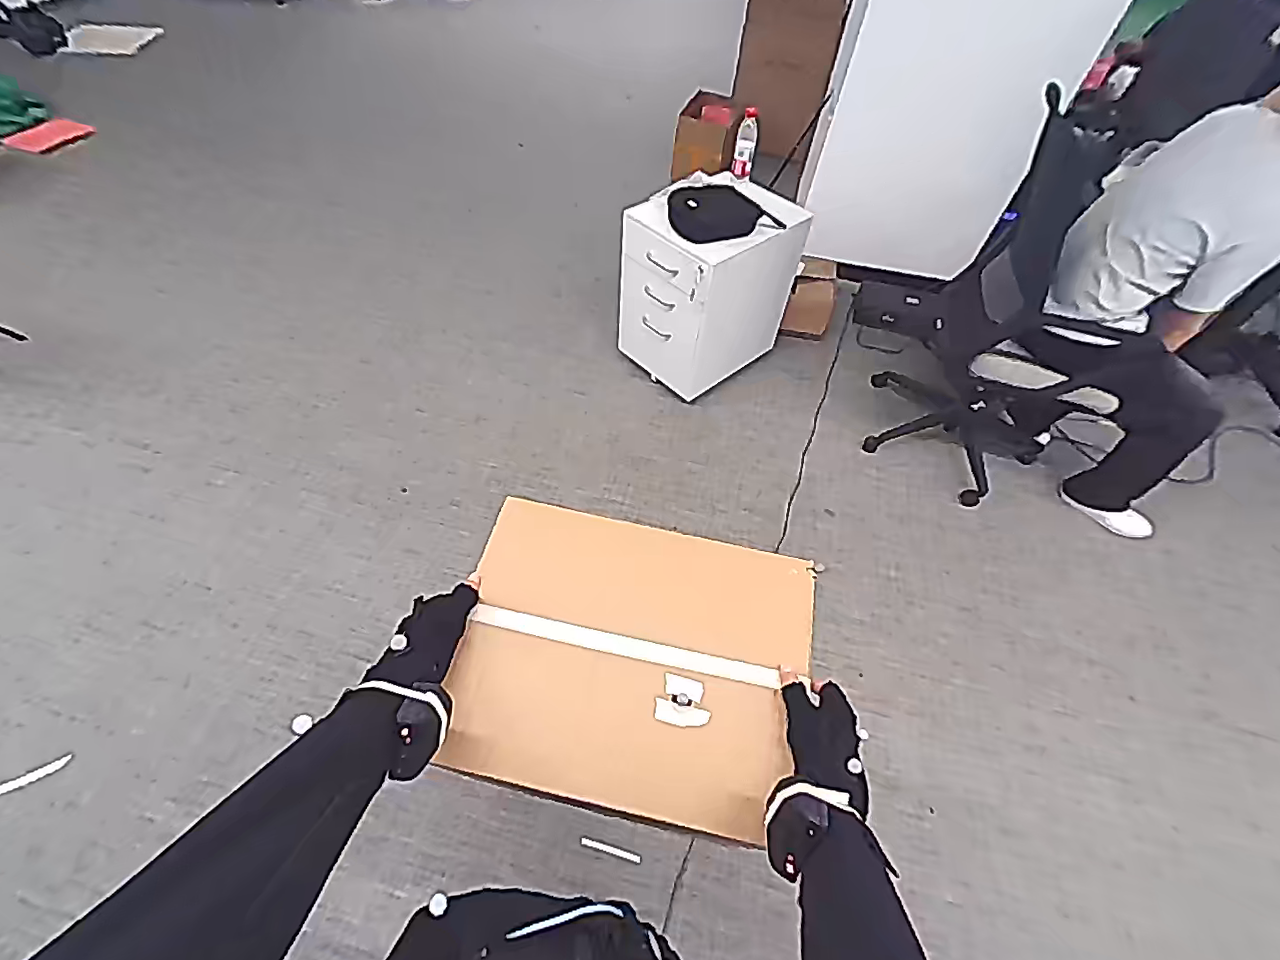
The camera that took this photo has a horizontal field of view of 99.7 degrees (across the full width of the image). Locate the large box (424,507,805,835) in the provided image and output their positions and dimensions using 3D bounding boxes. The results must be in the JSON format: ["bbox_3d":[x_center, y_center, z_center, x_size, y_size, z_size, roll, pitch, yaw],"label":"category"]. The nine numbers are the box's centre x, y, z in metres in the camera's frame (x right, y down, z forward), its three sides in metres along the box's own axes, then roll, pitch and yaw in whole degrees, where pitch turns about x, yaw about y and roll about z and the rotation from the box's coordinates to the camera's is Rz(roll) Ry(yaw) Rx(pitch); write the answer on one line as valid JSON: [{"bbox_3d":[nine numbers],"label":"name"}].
[{"bbox_3d":[-0.019,0.275,0.761,0.408,0.320,0.320,12,59,3],"label":"large box"}]
